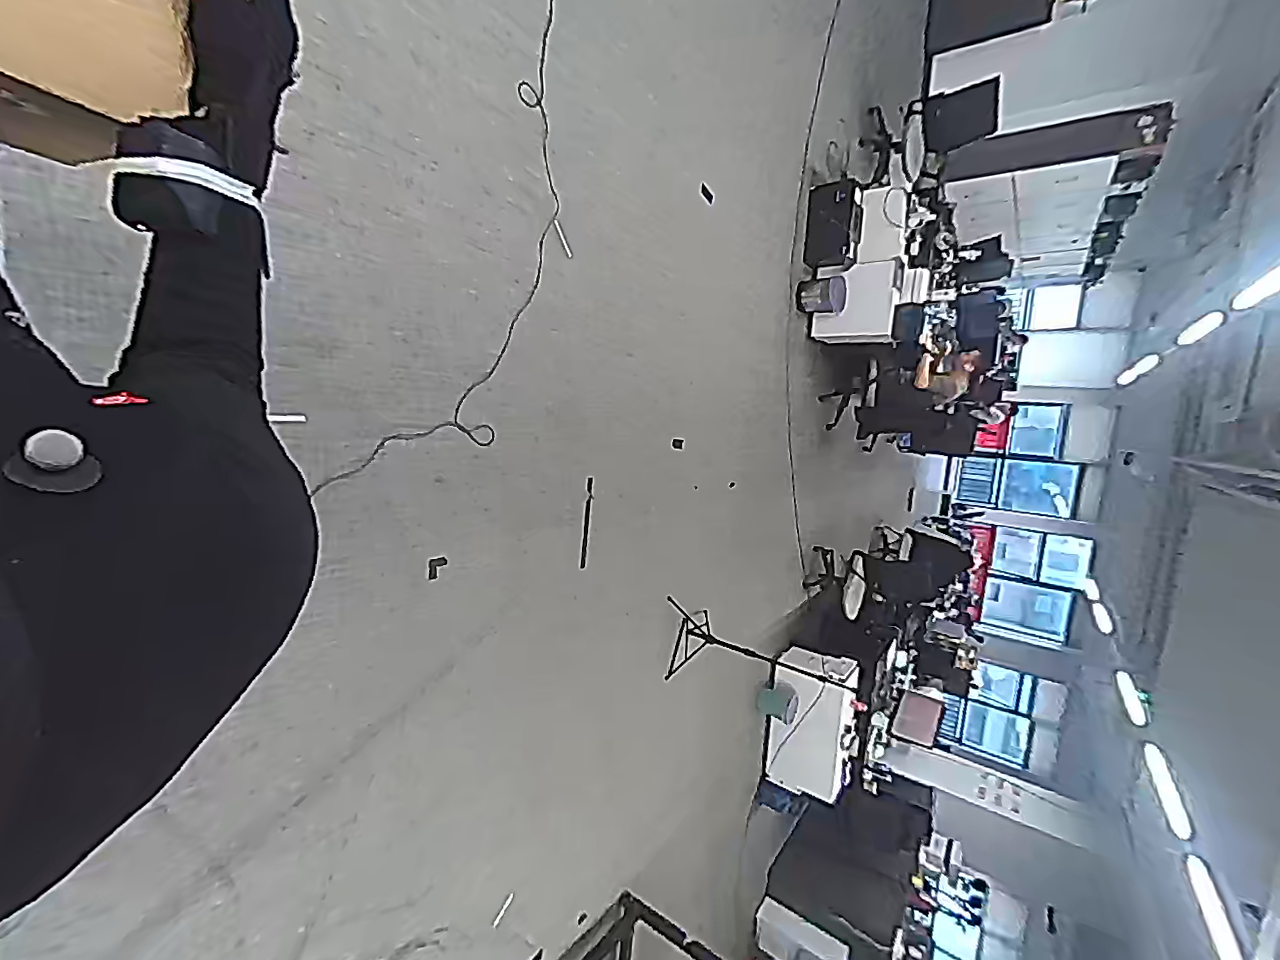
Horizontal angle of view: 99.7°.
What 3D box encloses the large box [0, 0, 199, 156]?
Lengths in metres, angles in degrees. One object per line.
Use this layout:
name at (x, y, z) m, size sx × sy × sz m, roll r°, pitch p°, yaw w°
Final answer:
large box at (-0.531, -0.432, 0.286) m, size 0.408 × 0.320 × 0.320 m, roll 0°, pitch 106°, yaw -58°
